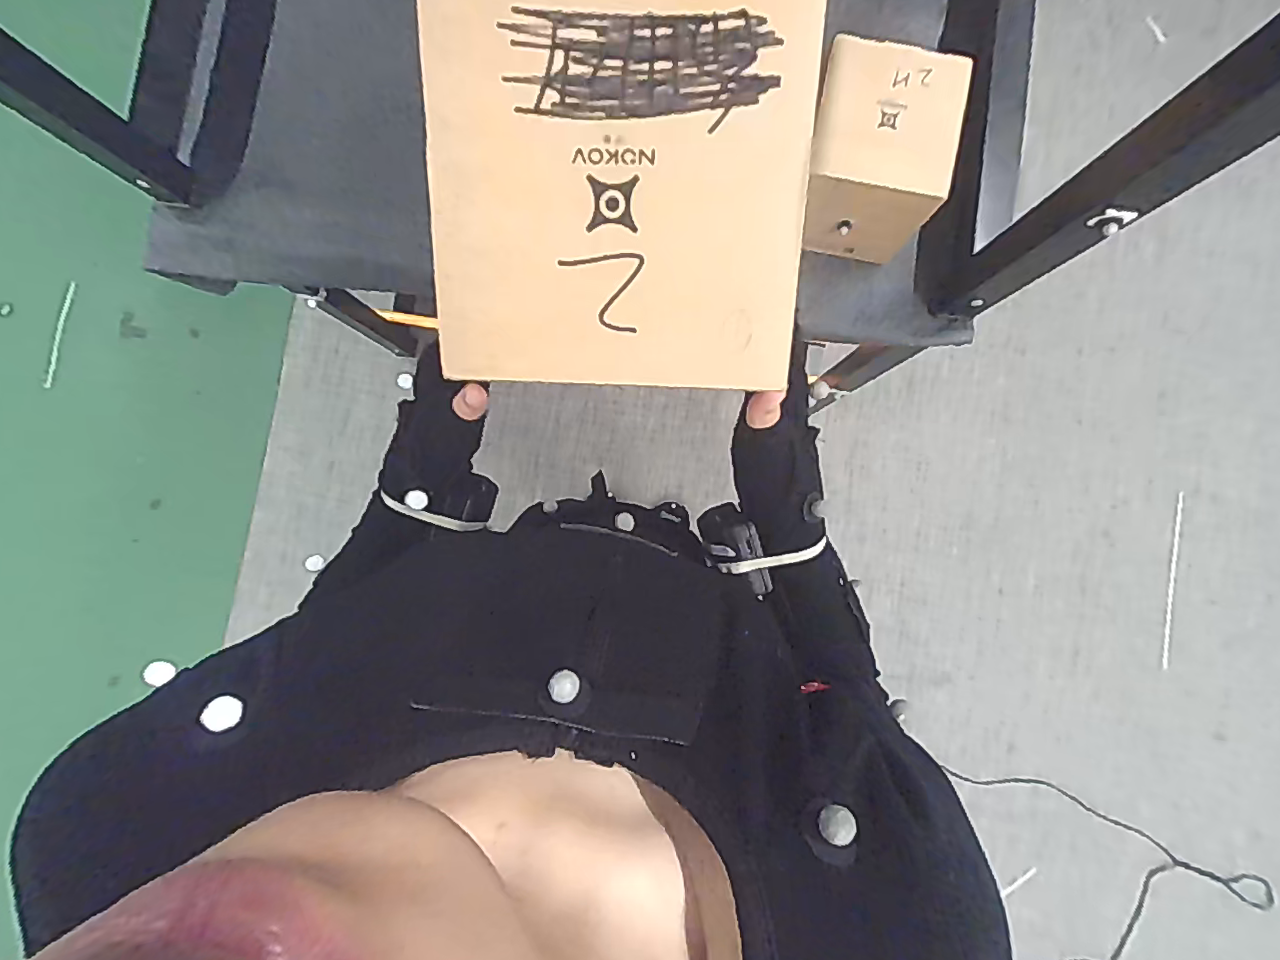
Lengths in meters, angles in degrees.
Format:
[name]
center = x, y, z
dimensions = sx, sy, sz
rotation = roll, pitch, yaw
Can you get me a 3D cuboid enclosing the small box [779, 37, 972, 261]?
[small box]
center = 0.291, -0.415, 0.708
dimensions = 0.168, 0.176, 0.179
rotation = 12, 86, 1
